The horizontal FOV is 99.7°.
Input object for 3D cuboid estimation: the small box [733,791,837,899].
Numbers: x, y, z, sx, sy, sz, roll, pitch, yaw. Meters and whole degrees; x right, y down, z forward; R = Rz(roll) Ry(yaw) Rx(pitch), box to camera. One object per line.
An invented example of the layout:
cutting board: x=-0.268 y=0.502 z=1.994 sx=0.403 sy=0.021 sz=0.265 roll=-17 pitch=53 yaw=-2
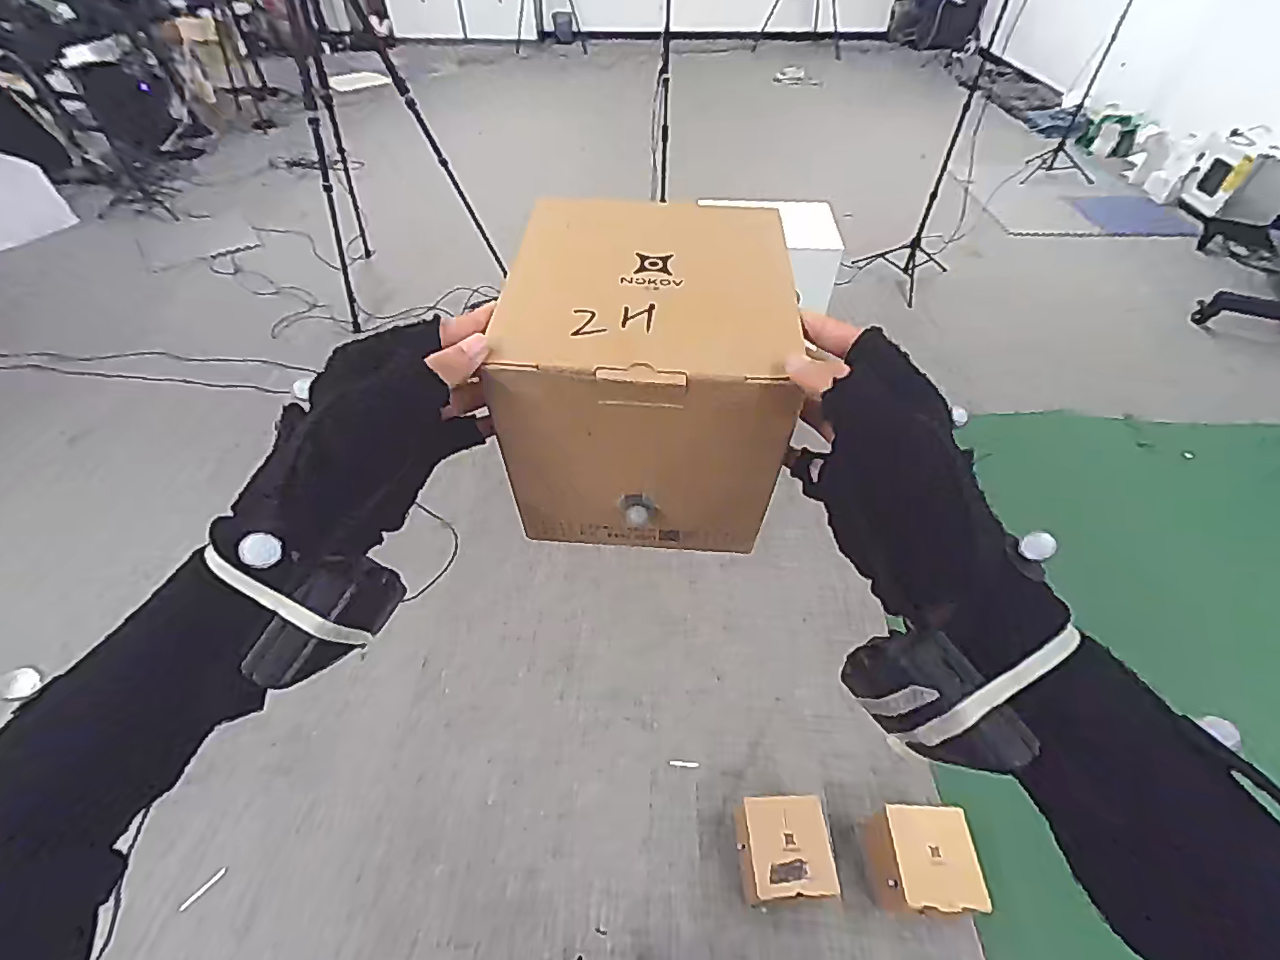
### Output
small box: x=0.302 y=0.787 z=1.161 sx=0.168 sy=0.176 sz=0.179 roll=-1 pitch=48 yaw=-2

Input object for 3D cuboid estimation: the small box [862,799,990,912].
small box: x=0.594 y=0.802 z=1.153 sx=0.168 sy=0.176 sz=0.179 roll=1 pitch=49 yaw=2
